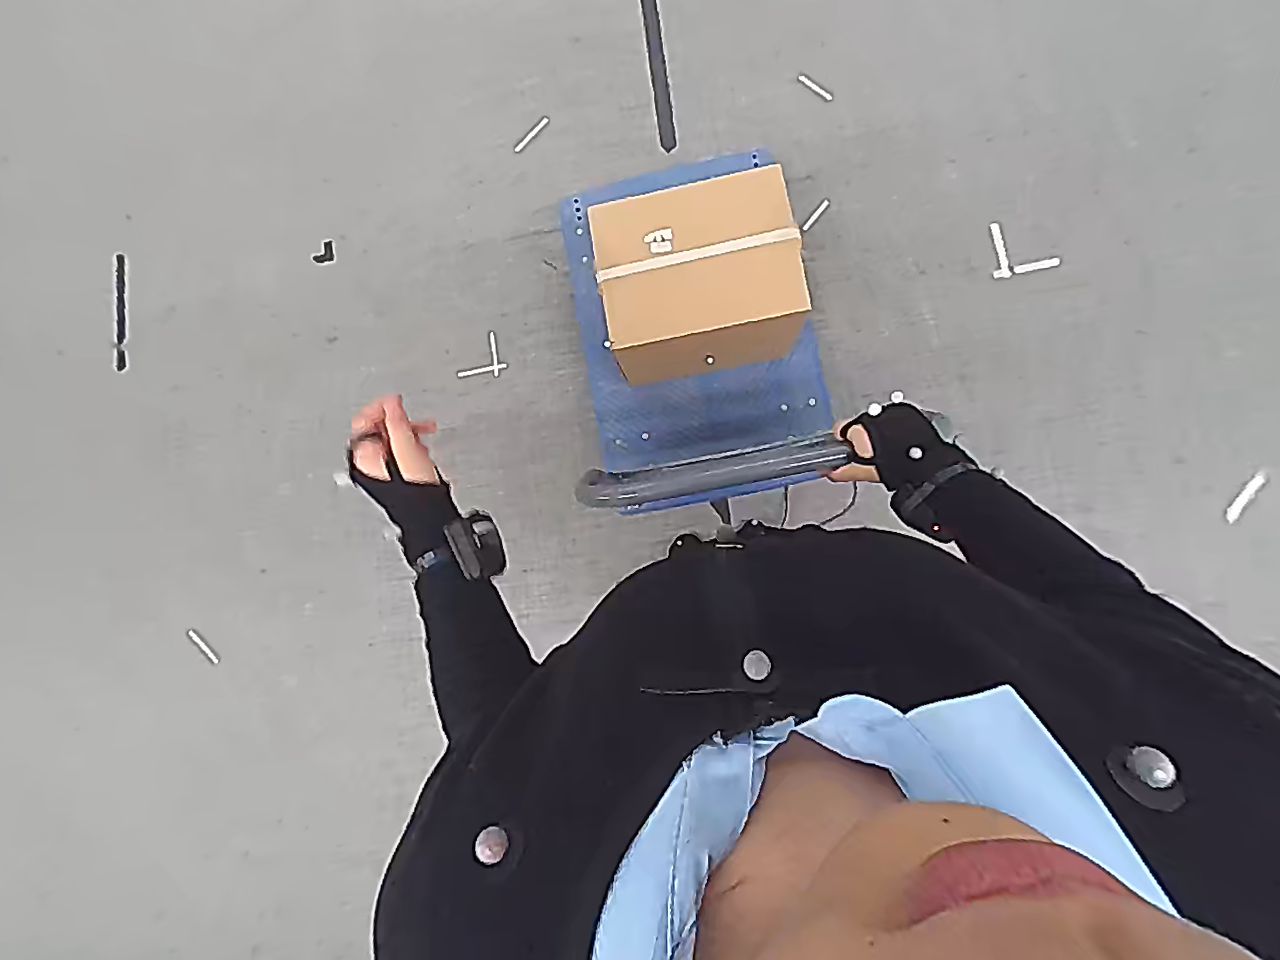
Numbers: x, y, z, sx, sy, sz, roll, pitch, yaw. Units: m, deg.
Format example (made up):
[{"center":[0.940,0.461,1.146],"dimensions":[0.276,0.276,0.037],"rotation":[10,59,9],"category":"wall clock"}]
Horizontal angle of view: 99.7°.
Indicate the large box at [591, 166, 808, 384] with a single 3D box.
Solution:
[{"center":[0.134,-0.441,1.250],"dimensions":[0.408,0.320,0.320],"rotation":[-11,83,6],"category":"large box"}]
